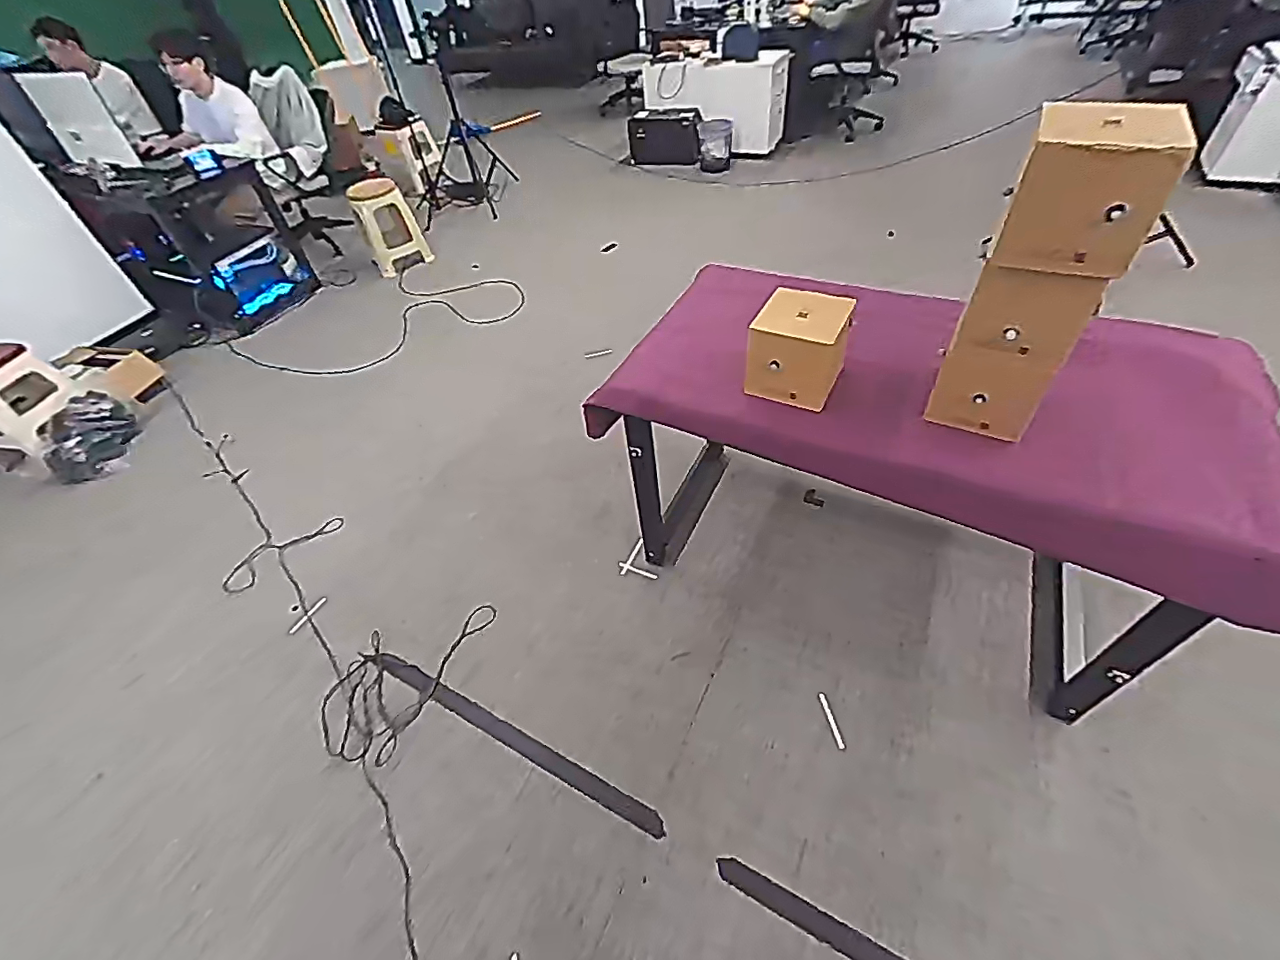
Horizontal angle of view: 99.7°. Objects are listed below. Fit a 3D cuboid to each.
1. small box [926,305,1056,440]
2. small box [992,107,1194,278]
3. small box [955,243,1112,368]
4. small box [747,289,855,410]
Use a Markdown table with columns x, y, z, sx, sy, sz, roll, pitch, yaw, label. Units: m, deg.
| x | y | z | sx | sy | sz | roll | pitch | yaw | label |
| --- | --- | --- | --- | --- | --- | --- | --- | --- | --- |
| 0.663 | -0.203 | 1.022 | 0.168 | 0.176 | 0.179 | 21 | 53 | 24 | small box |
| 0.627 | -0.410 | 0.771 | 0.168 | 0.176 | 0.179 | 18 | 52 | 21 | small box |
| 0.651 | -0.316 | 0.903 | 0.168 | 0.176 | 0.179 | 20 | 54 | 24 | small box |
| 0.331 | -0.271 | 1.130 | 0.168 | 0.176 | 0.179 | 19 | 51 | 23 | small box |
